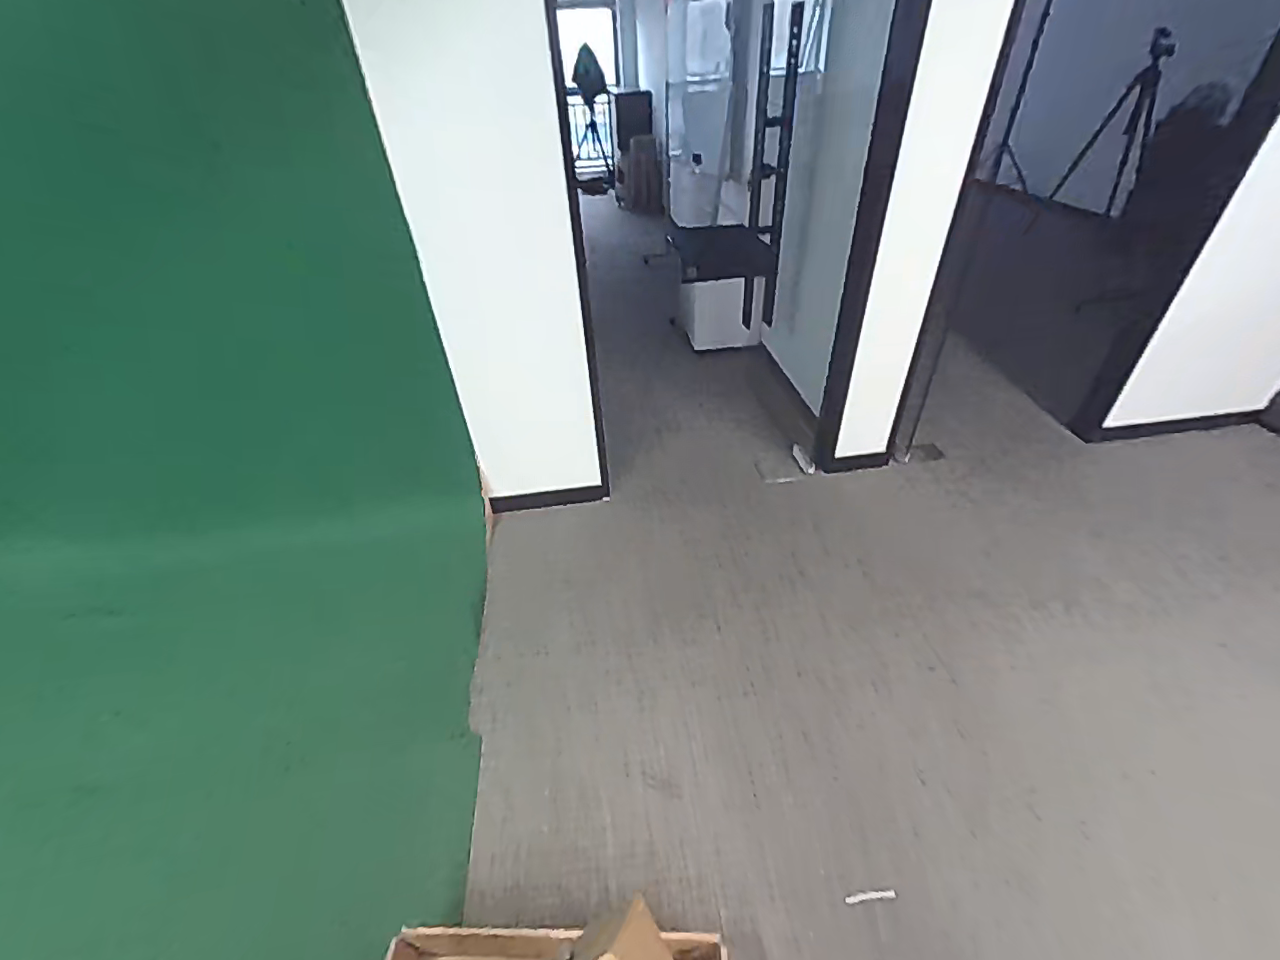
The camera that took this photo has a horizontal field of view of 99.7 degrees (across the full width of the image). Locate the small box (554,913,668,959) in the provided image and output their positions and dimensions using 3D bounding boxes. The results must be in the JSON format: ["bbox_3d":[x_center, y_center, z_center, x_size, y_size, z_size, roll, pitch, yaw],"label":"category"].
[{"bbox_3d":[-0.036,0.514,0.455,0.168,0.176,0.179,-33,68,-8],"label":"small box"}]
